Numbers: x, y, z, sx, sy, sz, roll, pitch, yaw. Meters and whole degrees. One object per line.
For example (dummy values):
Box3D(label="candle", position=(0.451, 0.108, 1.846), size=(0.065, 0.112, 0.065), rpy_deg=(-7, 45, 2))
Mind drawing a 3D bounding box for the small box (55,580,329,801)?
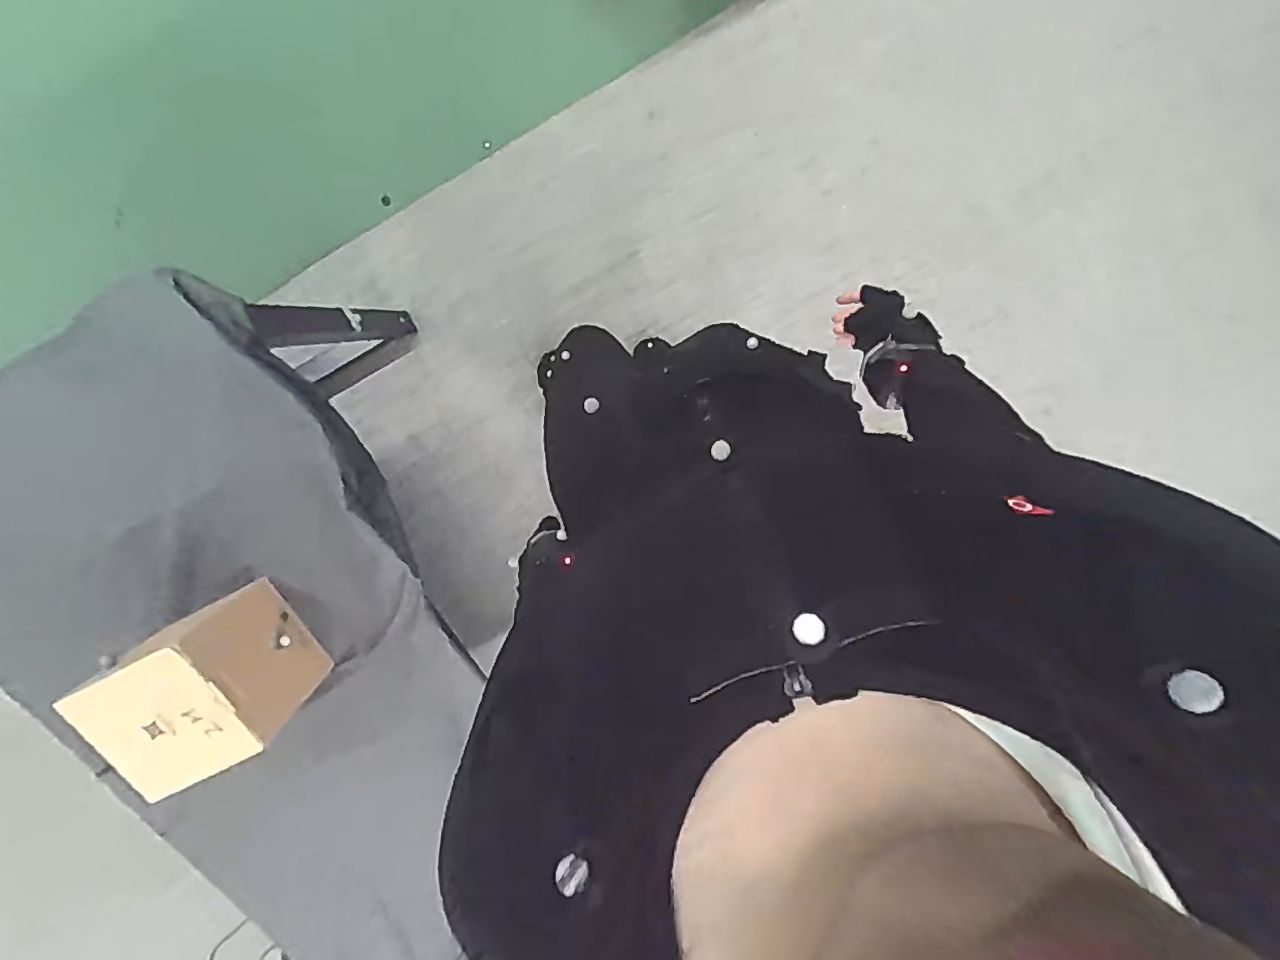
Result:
Box3D(label="small box", position=(-0.557, 0.262, 0.703), size=(0.179, 0.176, 0.168), rpy_deg=(-27, 106, 5))
